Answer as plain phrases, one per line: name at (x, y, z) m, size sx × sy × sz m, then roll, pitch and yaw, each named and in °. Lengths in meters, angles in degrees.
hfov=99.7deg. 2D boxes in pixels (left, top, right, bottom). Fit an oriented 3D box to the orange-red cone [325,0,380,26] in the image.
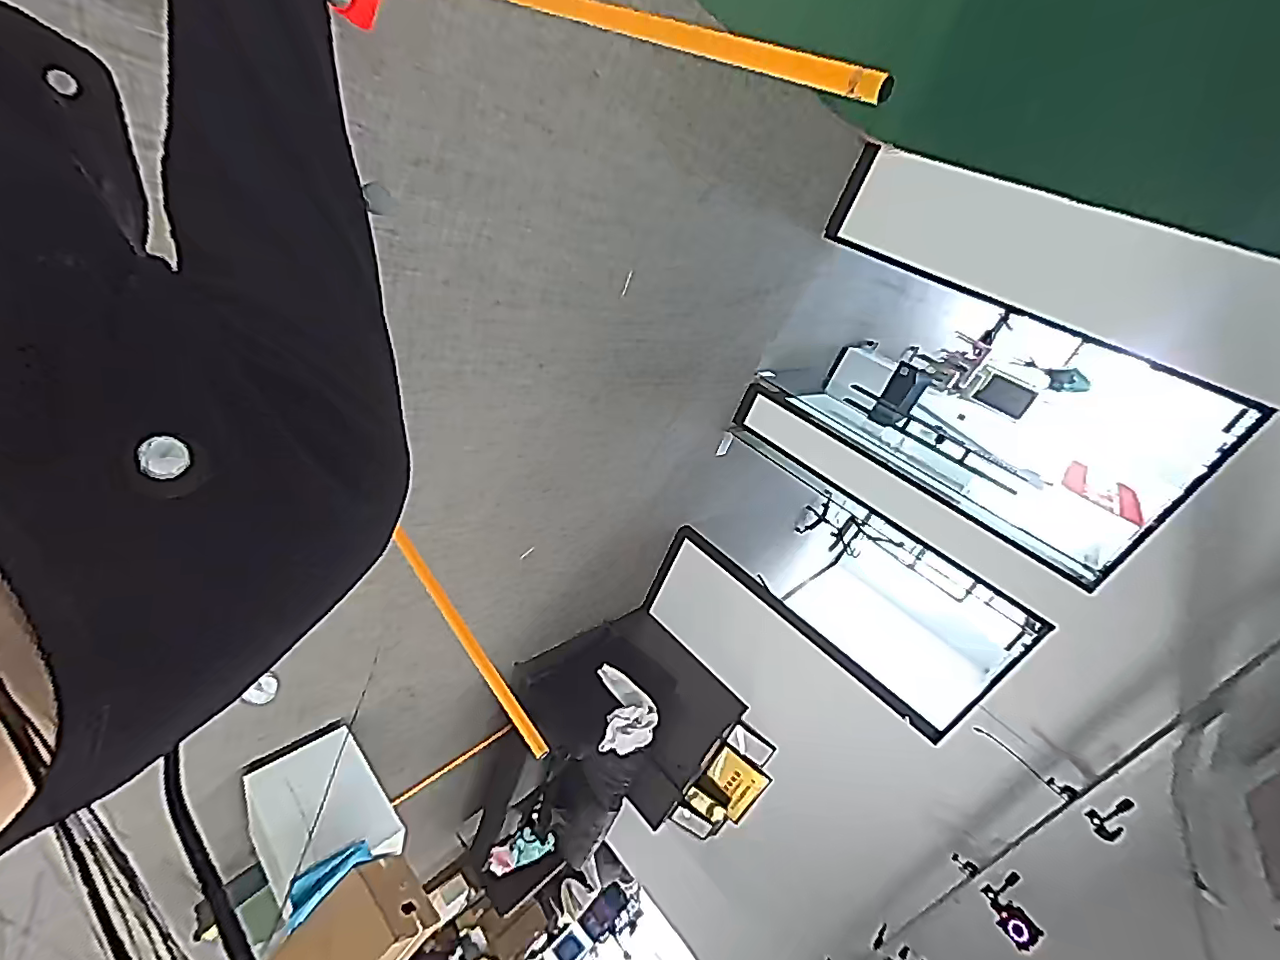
orange-red cone at (-0.477, -0.953, 0.977) m, size 0.198 × 0.360 × 0.199 m, roll 2°, pitch 123°, yaw -56°
